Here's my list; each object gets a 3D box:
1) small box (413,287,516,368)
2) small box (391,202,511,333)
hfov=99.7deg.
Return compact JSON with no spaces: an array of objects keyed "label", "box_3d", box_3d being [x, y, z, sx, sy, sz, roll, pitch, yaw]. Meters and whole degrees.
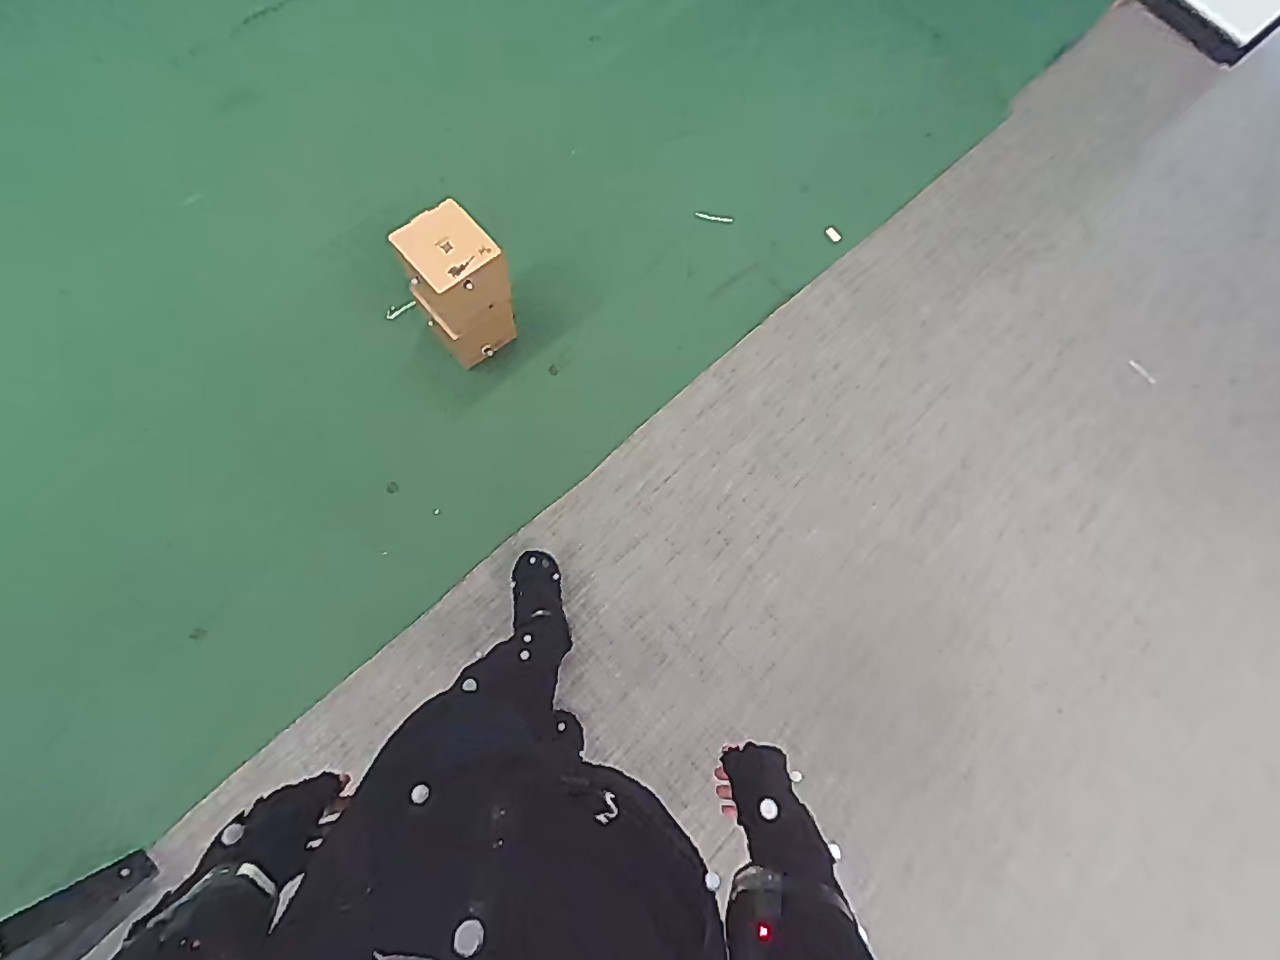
[{"label":"small box","box_3d":[-0.434,-0.417,1.365,0.168,0.176,0.179,-41,84,-14]},{"label":"small box","box_3d":[-0.413,-0.468,1.211,0.168,0.176,0.179,-41,82,-14]}]
